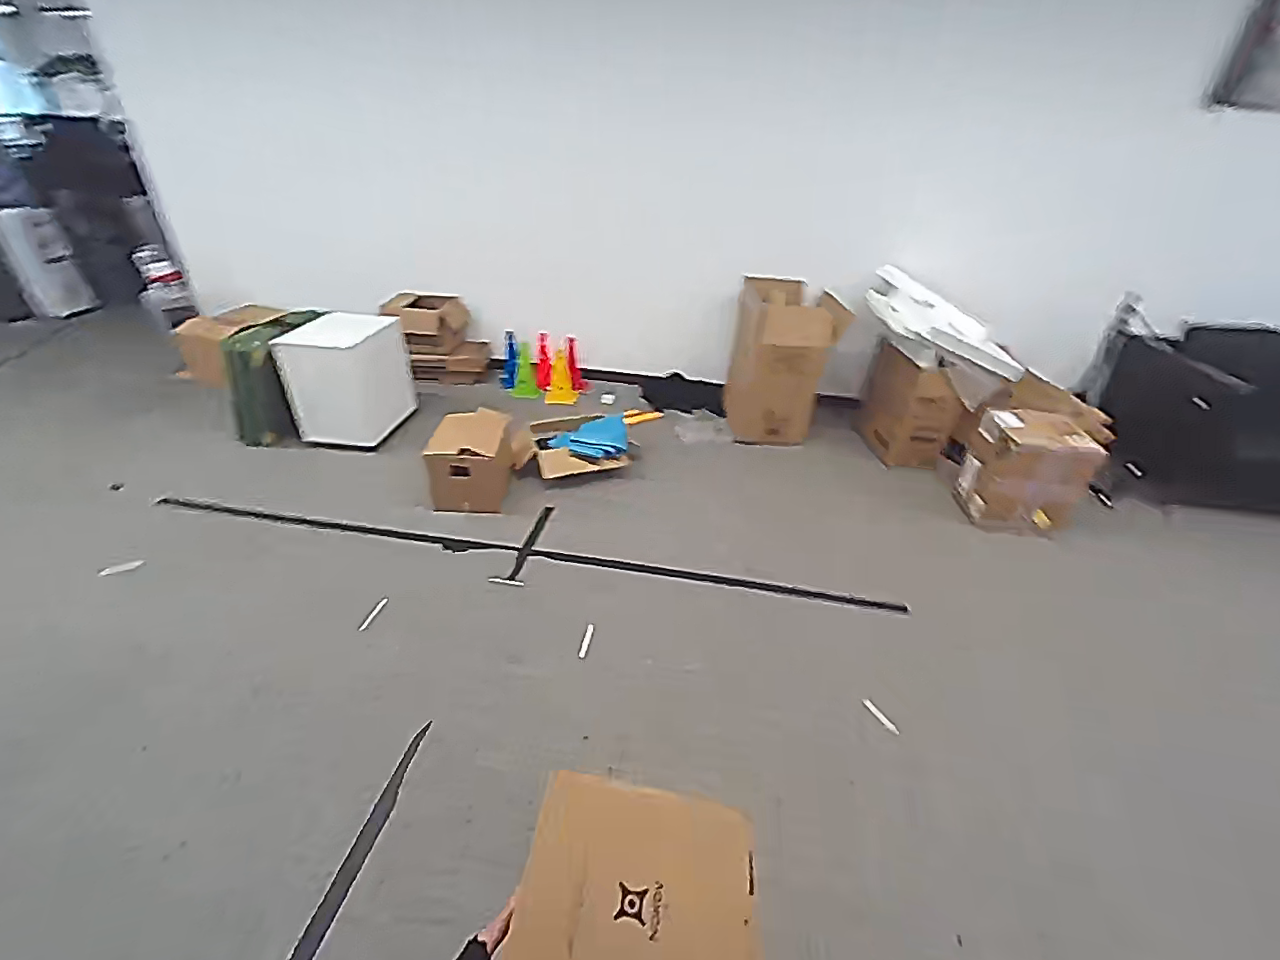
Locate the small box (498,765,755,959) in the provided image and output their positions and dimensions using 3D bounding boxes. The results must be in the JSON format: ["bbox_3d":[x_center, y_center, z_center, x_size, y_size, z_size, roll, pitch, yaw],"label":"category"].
[{"bbox_3d":[-0.013,0.367,0.440,0.179,0.176,0.168,9,36,2],"label":"small box"}]
